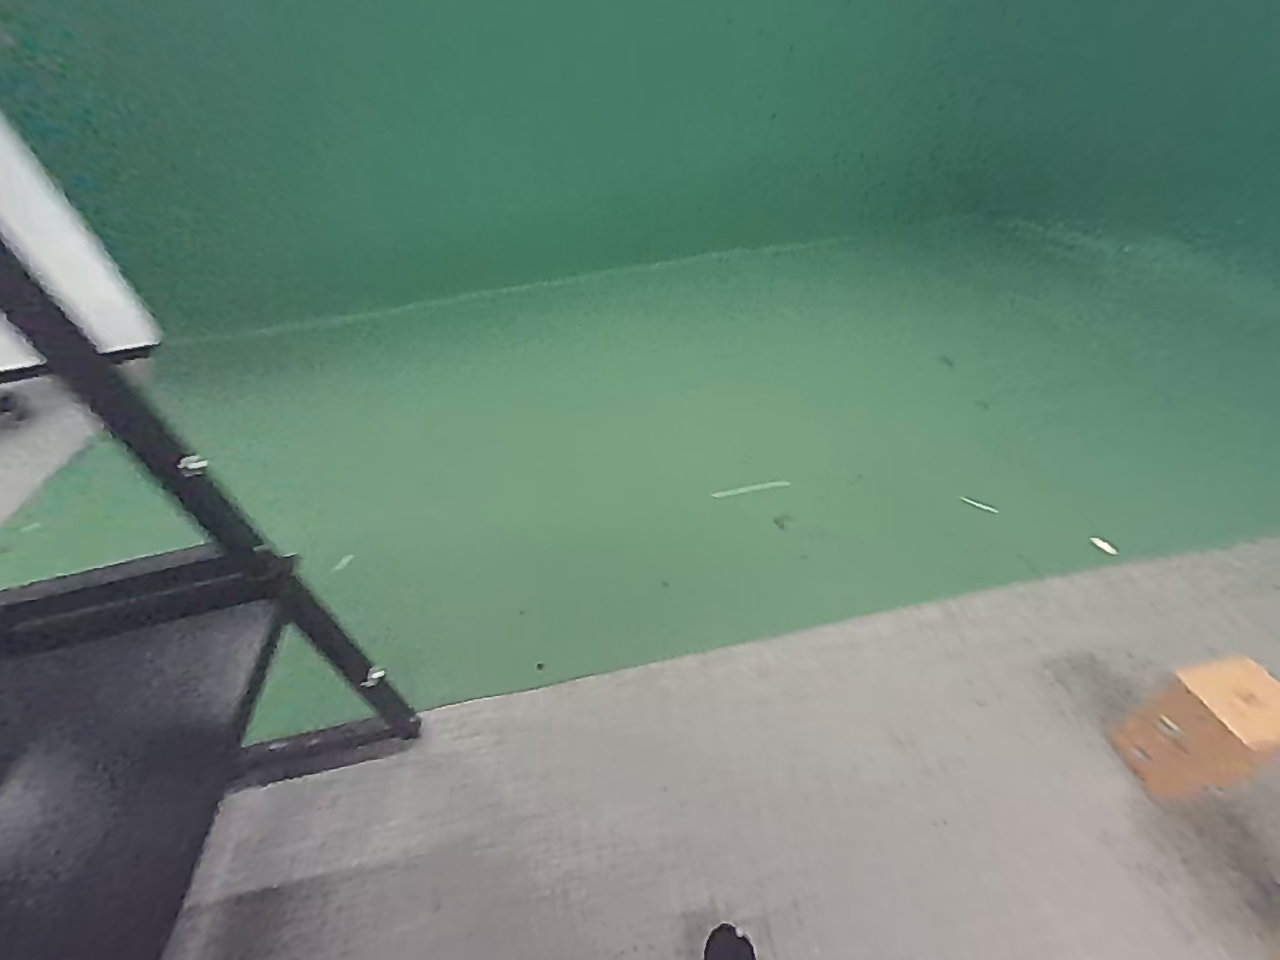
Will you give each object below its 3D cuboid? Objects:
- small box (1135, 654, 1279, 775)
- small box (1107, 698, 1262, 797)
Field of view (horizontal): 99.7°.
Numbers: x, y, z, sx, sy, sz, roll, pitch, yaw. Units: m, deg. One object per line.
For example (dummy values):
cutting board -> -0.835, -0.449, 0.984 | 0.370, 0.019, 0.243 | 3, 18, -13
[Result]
small box -> 1.234, 0.502, 1.155 | 0.179, 0.176, 0.168 | -11, 41, -2
small box -> 1.253, 0.620, 1.267 | 0.179, 0.176, 0.168 | -9, 42, 0
